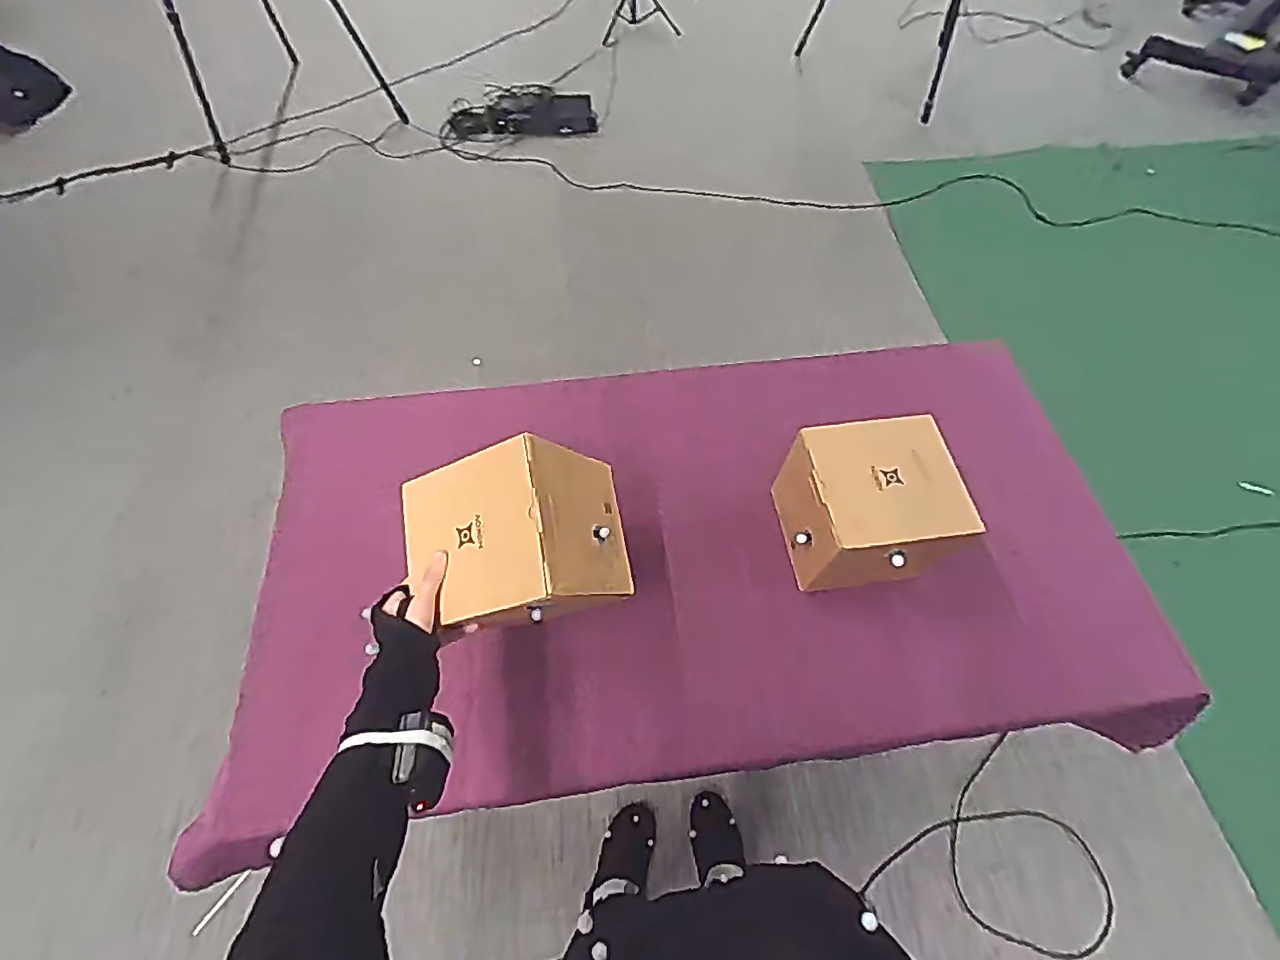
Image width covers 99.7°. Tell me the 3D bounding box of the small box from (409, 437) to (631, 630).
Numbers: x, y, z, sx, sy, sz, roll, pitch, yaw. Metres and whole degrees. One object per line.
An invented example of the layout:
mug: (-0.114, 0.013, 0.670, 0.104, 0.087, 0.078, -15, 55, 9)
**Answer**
small box: (-0.134, 0.073, 0.621, 0.179, 0.176, 0.168, -19, 70, 21)

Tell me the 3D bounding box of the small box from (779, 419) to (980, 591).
small box: (0.295, 0.039, 0.719, 0.179, 0.176, 0.168, -6, 62, -4)
